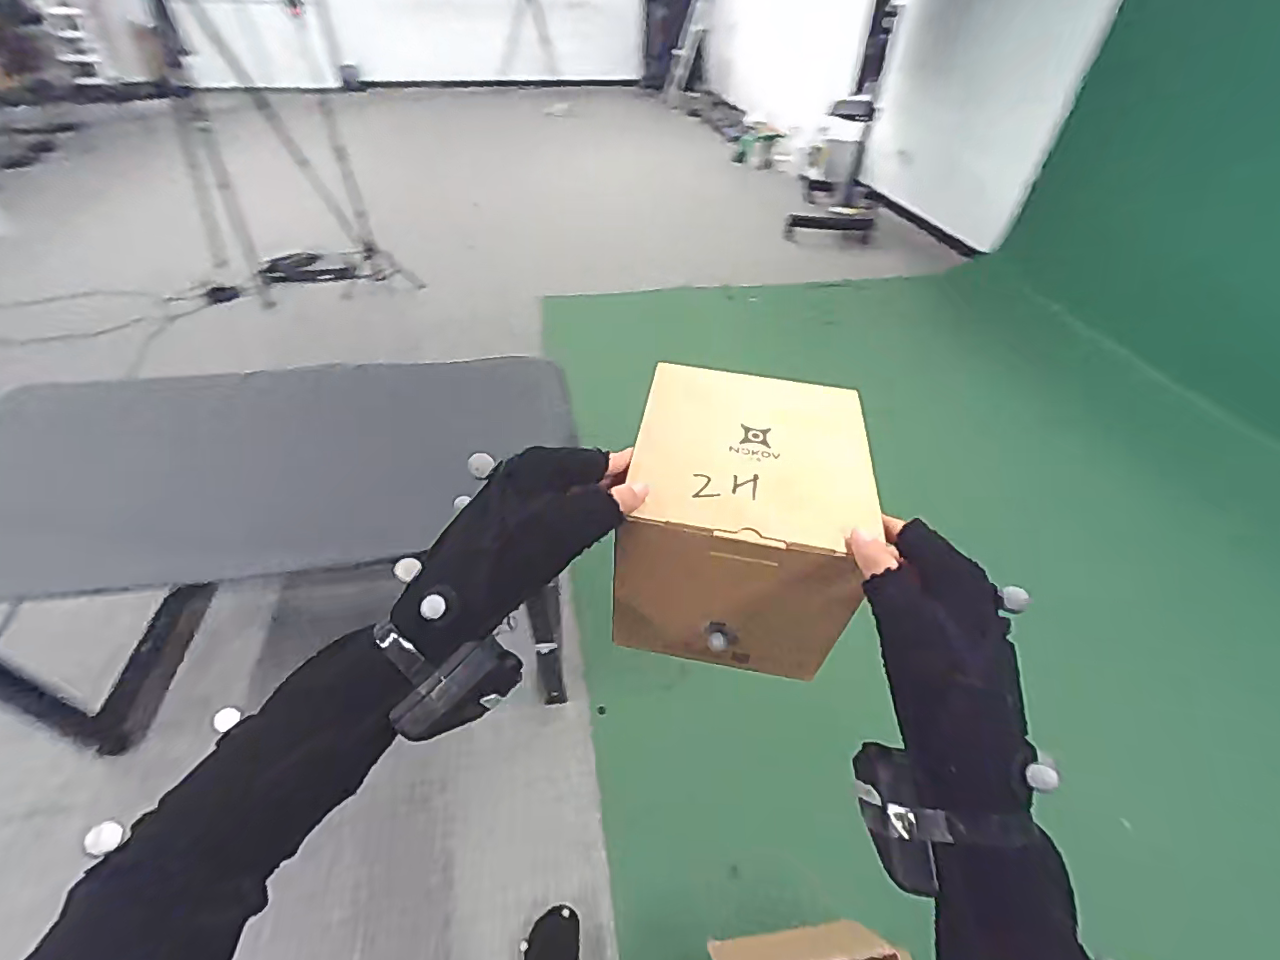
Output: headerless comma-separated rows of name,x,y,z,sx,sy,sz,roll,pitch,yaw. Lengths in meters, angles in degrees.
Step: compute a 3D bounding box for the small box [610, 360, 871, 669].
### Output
small box,0.069,0.027,0.448,0.168,0.176,0.179,8,46,4
